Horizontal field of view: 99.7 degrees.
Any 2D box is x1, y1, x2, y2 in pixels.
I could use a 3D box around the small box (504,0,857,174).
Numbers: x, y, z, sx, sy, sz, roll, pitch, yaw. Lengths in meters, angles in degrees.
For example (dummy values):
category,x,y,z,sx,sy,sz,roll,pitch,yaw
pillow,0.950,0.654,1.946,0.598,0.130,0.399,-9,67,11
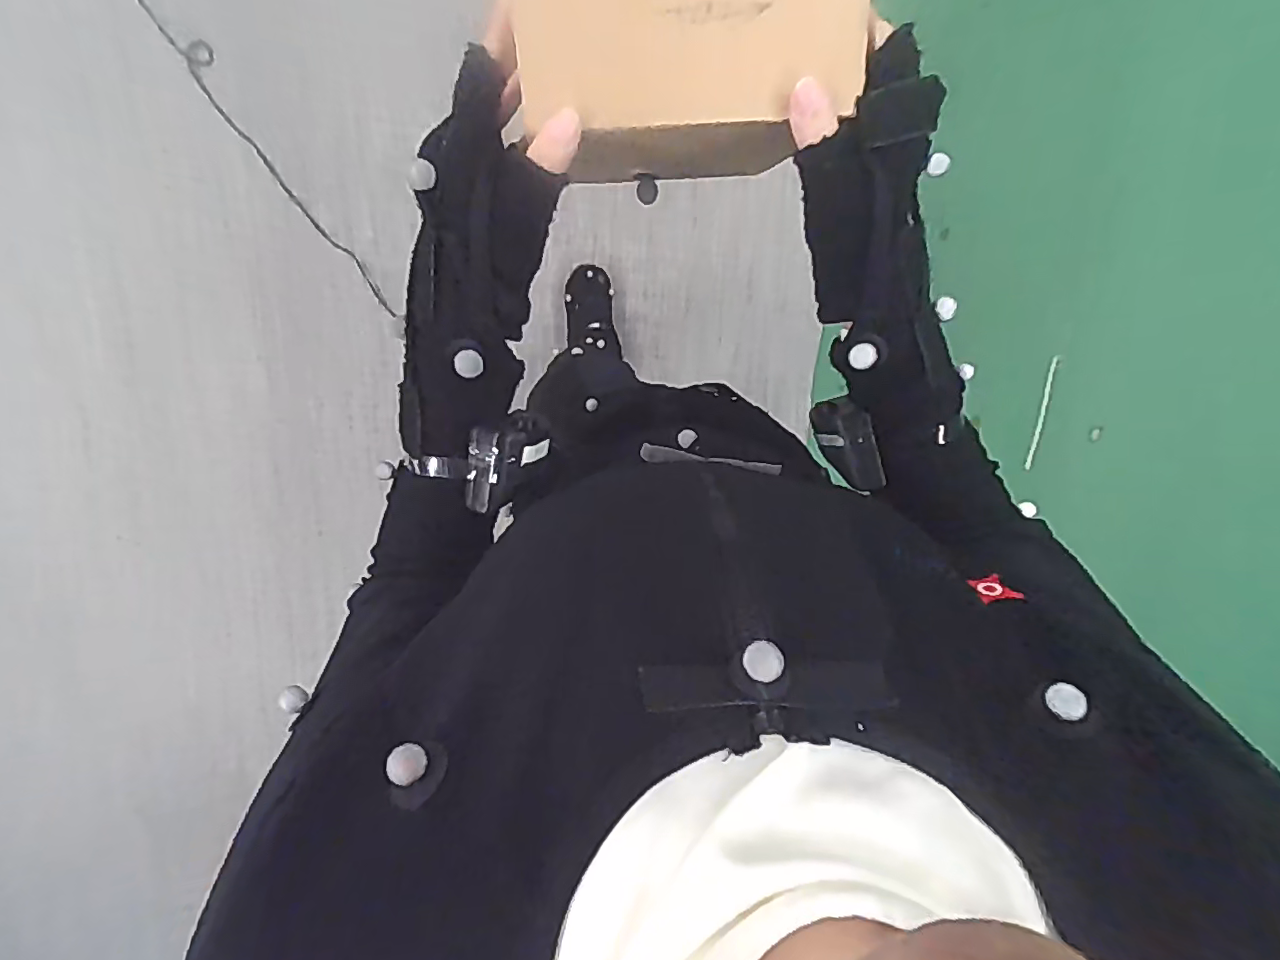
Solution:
category,x,y,z,sx,sy,sz,roll,pitch,yaw
small box,0.010,-0.289,0.306,0.168,0.176,0.179,-5,111,-3
